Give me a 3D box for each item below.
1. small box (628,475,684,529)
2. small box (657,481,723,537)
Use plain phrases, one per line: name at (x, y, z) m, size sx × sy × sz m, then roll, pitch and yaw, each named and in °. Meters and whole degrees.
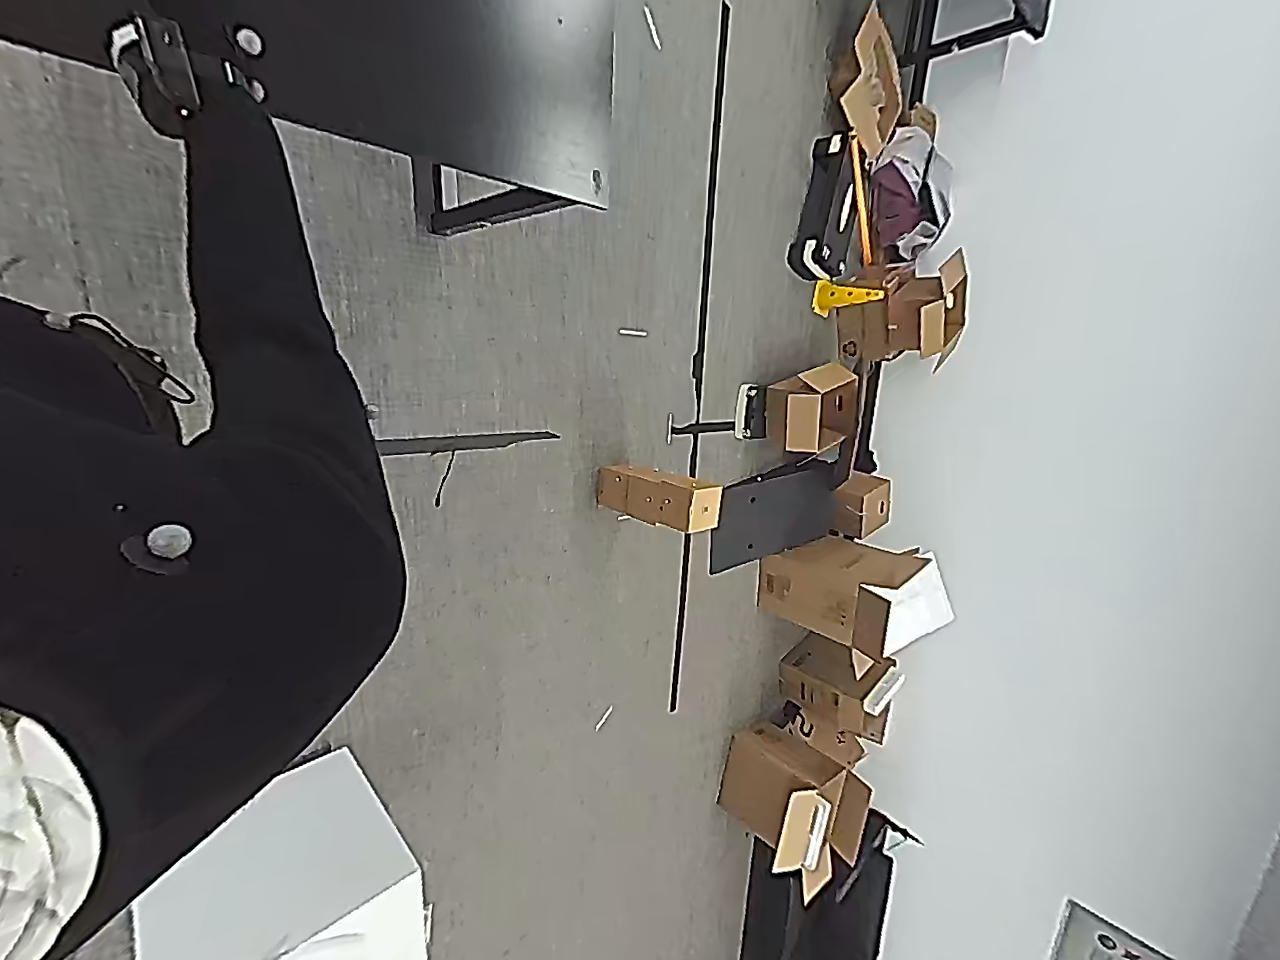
small box at (0.068, 0.081, 2.154) m, size 0.168 × 0.176 × 0.179 m, roll -10°, pitch 110°, yaw -44°
small box at (0.187, 0.103, 2.046) m, size 0.179 × 0.176 × 0.168 m, roll -7°, pitch 107°, yaw -44°
